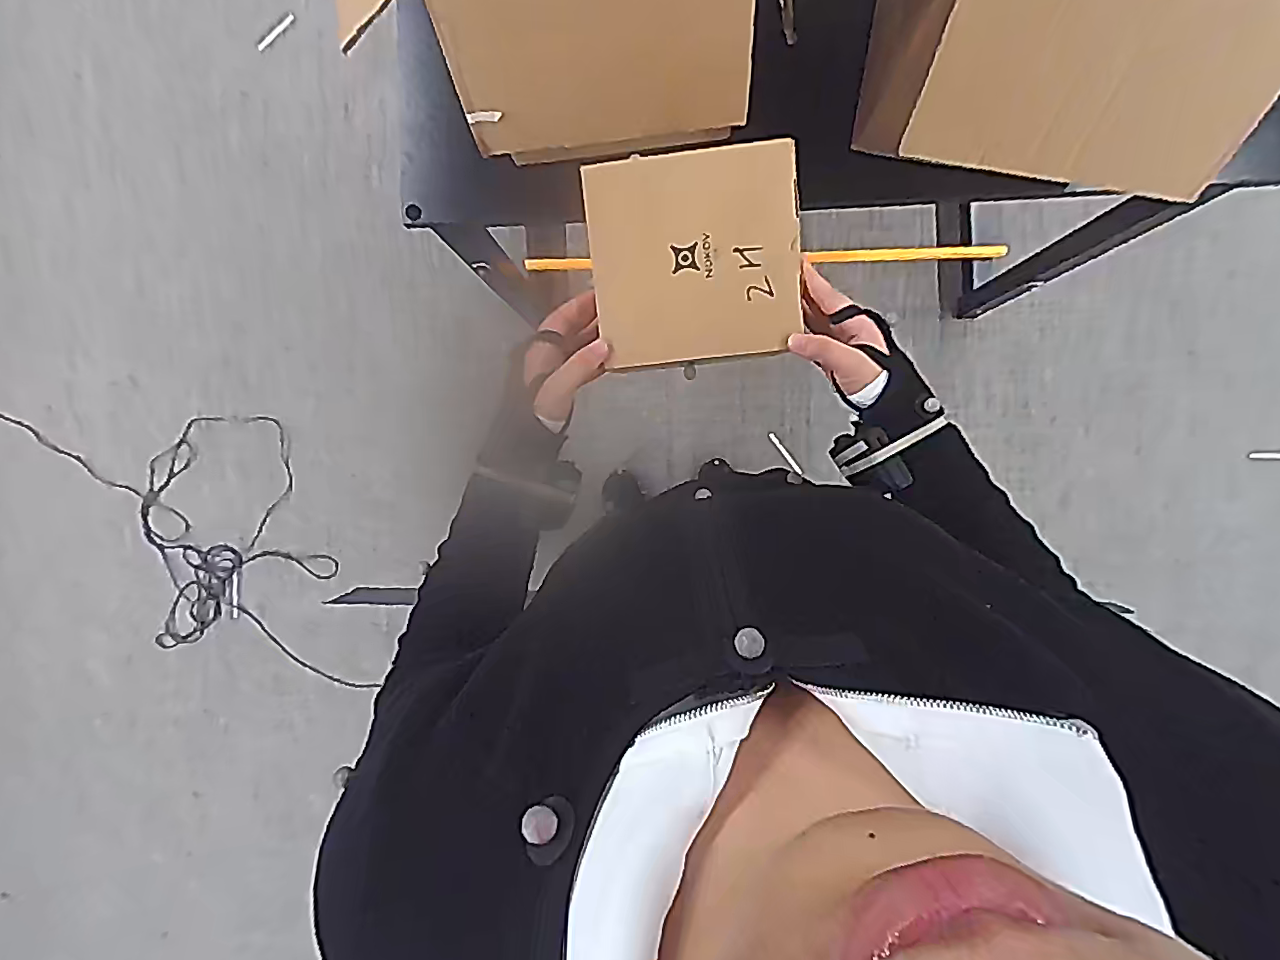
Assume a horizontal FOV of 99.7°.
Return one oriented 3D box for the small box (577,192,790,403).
[{"bbox_3d":[0.043,-0.167,0.545,0.179,0.176,0.168,-5,101,3],"label":"small box"}]
